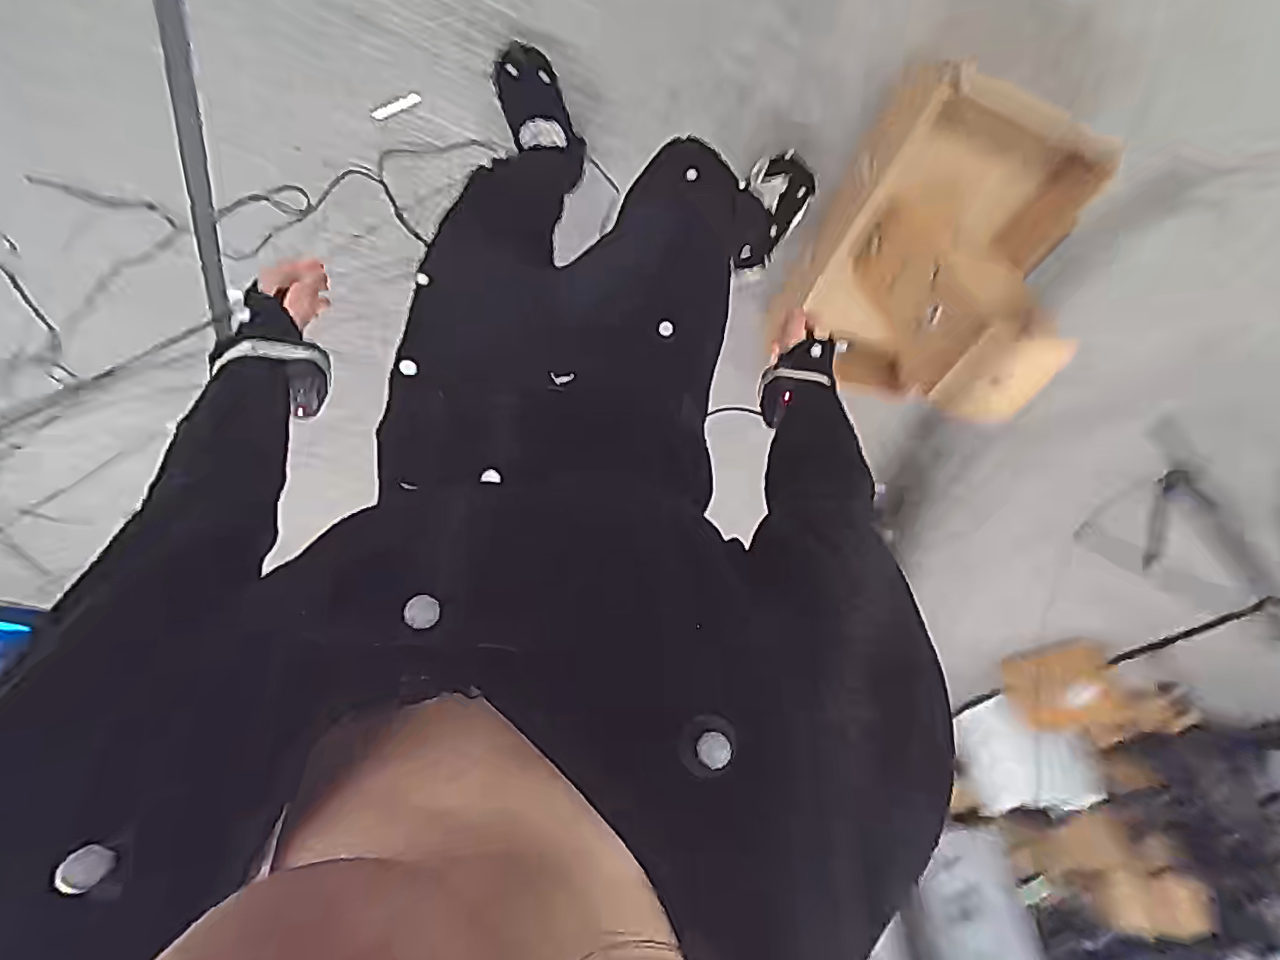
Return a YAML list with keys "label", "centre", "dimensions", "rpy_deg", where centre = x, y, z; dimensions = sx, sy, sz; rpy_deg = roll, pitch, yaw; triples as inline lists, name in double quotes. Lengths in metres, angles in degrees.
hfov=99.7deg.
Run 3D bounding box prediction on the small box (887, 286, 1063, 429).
- label: "small box"
  centre: [0.584, -0.220, 0.968]
  dimensions: [0.179, 0.176, 0.168]
  rpy_deg: [12, 136, -13]
